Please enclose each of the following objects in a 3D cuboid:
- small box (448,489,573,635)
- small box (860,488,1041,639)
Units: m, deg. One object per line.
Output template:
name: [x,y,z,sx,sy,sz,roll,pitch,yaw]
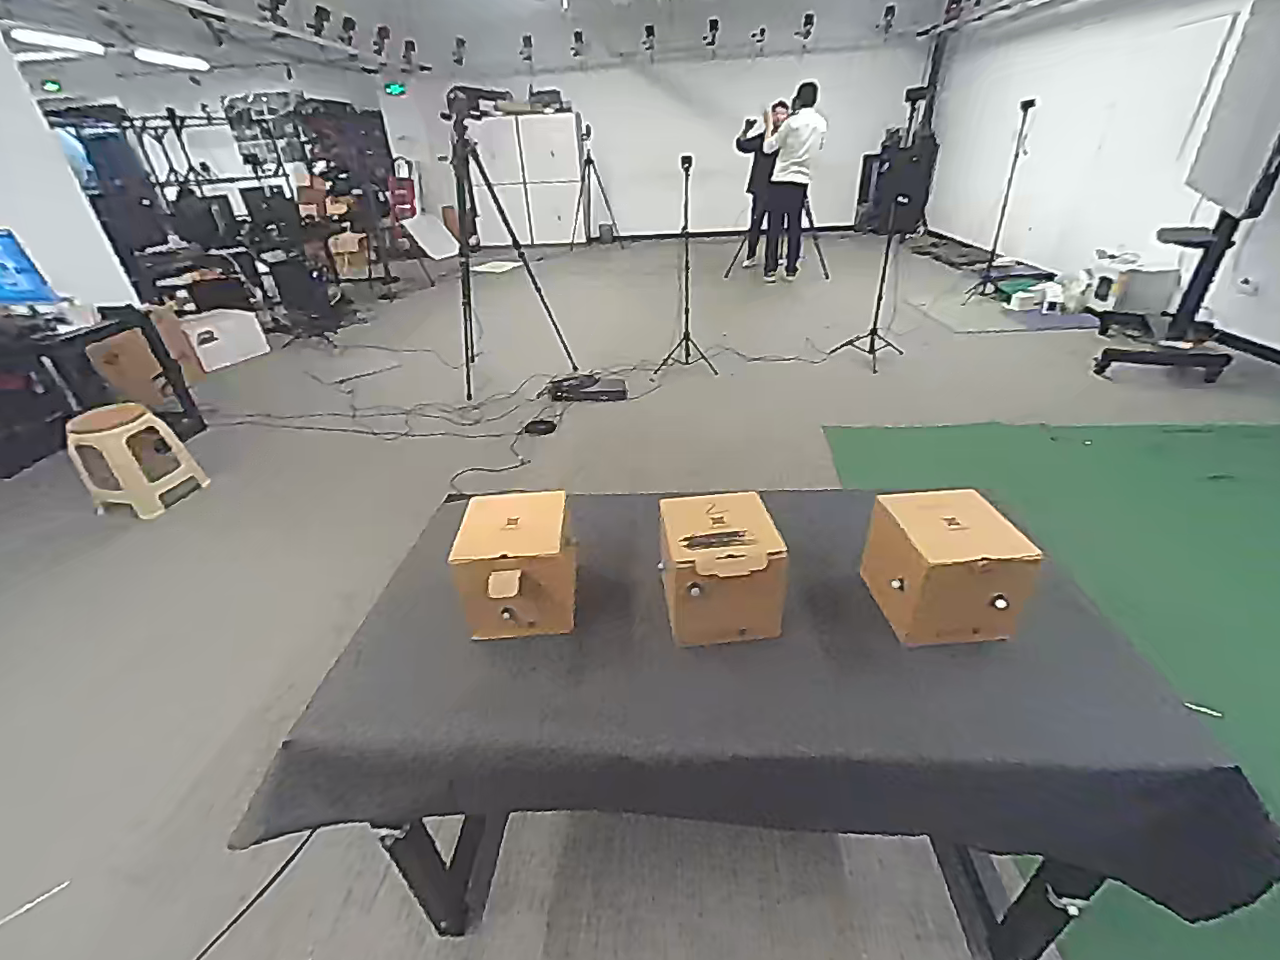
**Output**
small box: [-0.203,0.133,0.903,0.168,0.176,0.179,-4,32,-2]
small box: [0.468,0.133,0.848,0.168,0.176,0.179,-3,30,-2]
